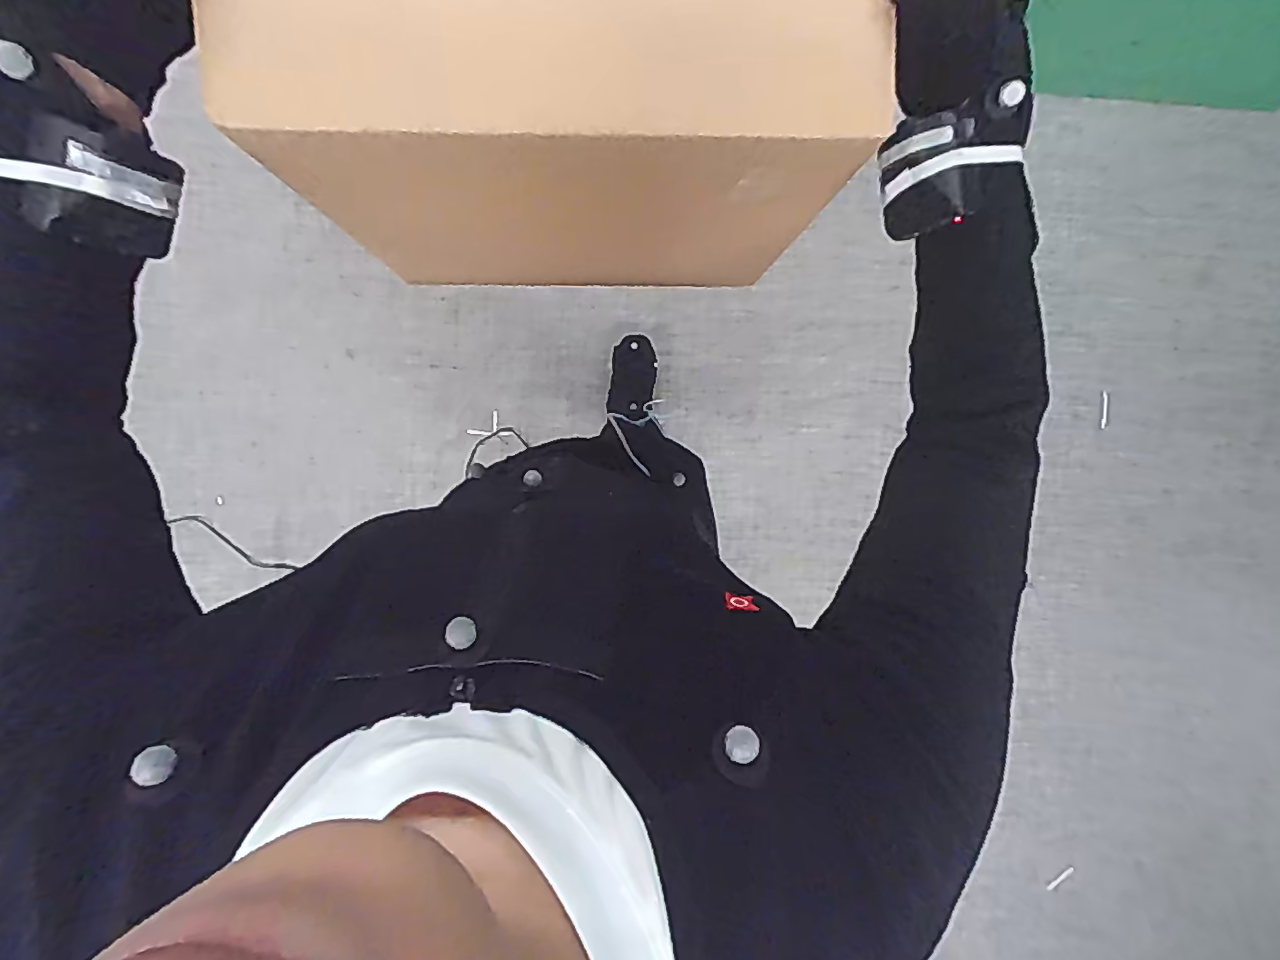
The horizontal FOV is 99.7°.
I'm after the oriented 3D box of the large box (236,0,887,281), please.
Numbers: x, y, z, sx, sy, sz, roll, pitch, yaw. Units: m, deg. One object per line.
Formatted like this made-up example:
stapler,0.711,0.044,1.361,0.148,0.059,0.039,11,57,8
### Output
large box,-0.054,-0.379,0.474,0.408,0.320,0.320,-2,95,-4
